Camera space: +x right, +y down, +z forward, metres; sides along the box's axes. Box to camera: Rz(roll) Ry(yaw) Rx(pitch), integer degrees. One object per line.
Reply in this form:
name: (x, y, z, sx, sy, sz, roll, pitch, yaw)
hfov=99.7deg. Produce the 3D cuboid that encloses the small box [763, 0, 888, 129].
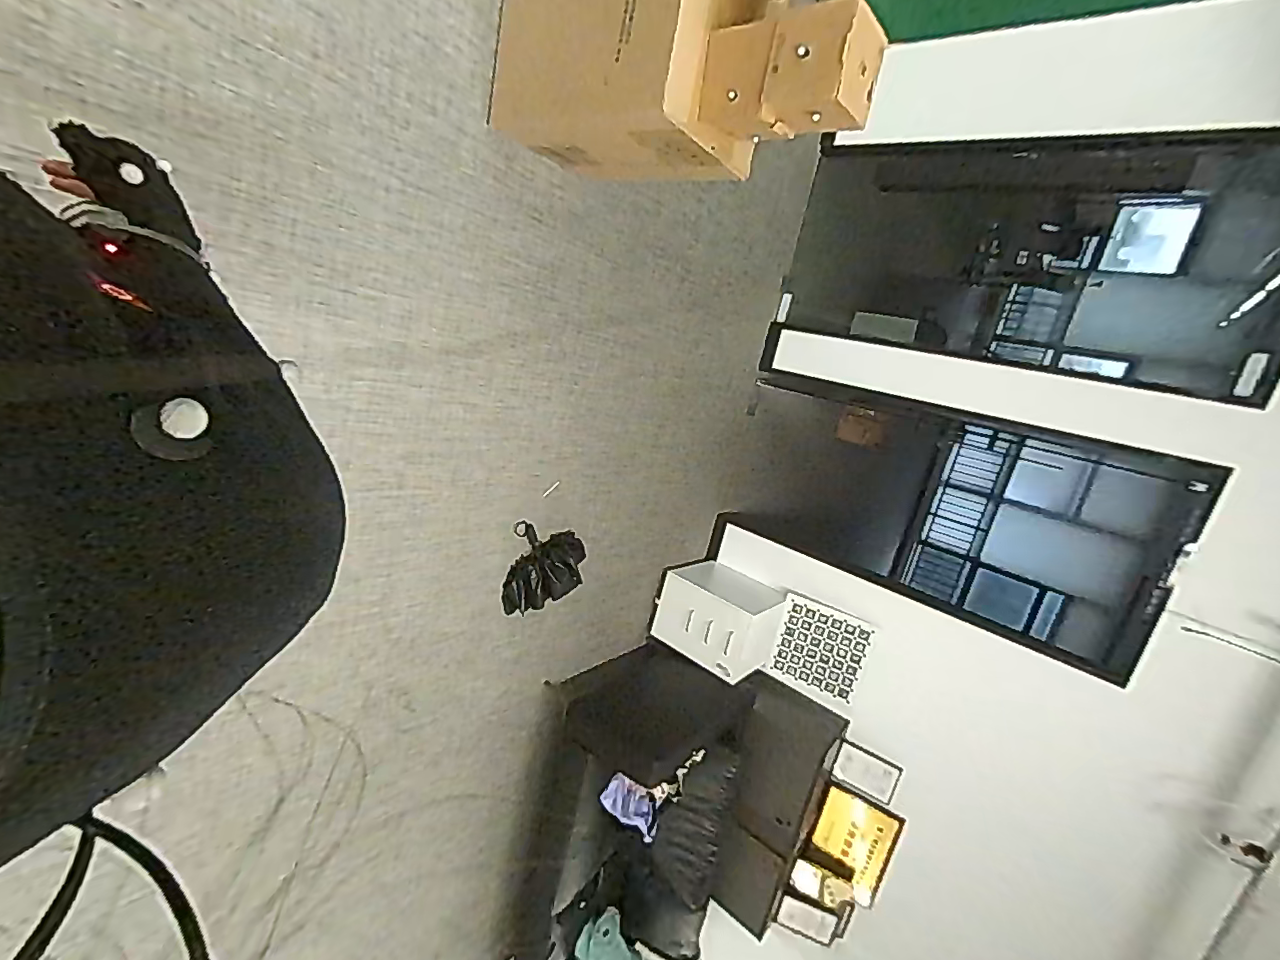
small box: (0.377, -0.842, 1.111, 0.179, 0.176, 0.168, -11, 118, -49)

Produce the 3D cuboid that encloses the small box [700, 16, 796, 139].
small box: (0.253, -0.884, 1.210, 0.168, 0.176, 0.179, -17, 120, -47)
